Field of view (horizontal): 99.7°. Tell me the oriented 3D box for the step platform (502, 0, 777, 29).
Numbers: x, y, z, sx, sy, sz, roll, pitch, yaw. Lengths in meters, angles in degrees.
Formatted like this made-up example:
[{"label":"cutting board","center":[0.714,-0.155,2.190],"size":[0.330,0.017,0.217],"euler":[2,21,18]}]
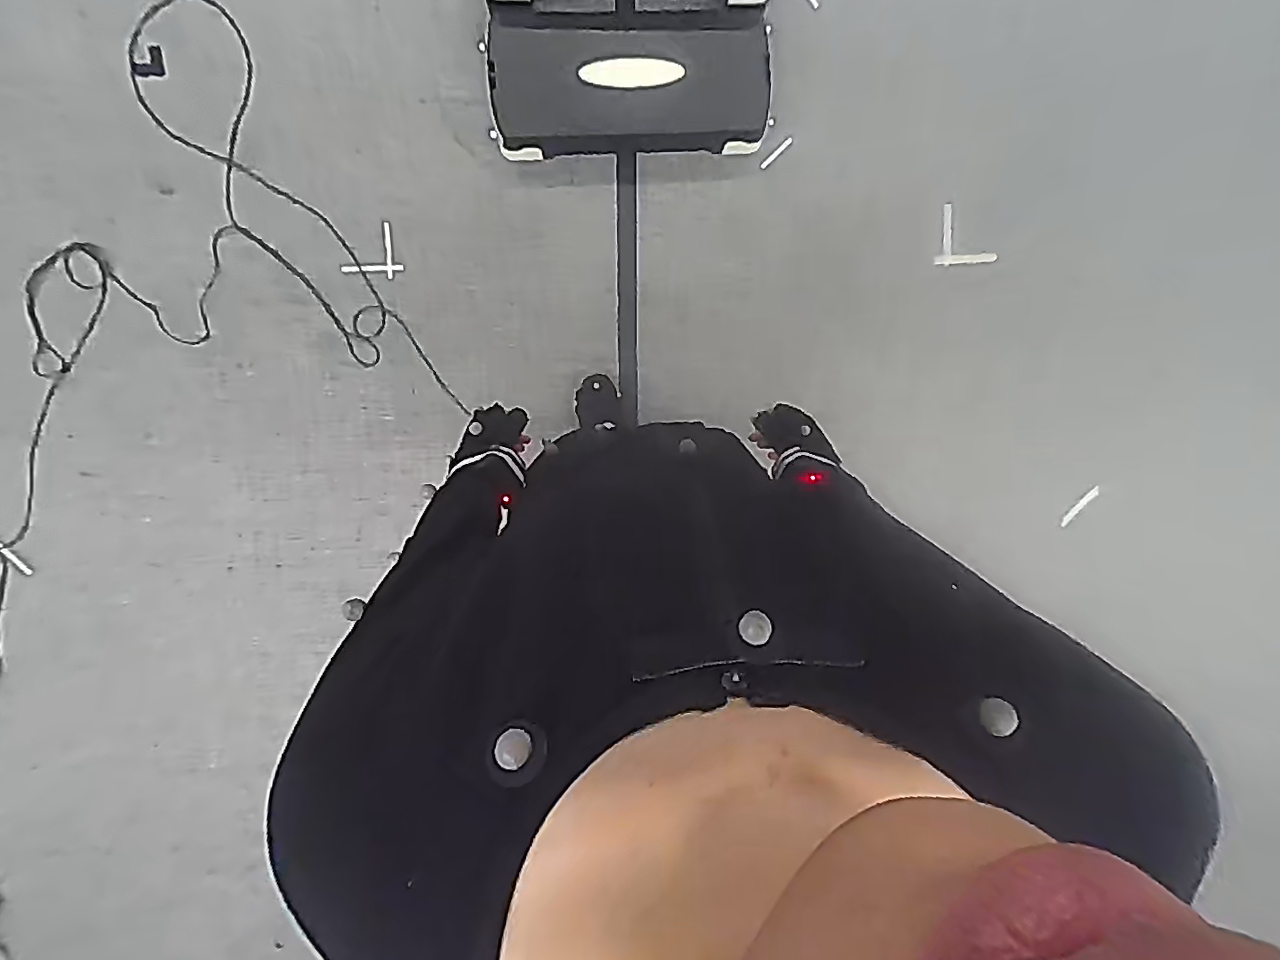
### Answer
[{"label":"step platform","center":[0.003,-1.245,1.226],"size":[0.684,0.204,0.286],"euler":[-3,97,-4]}]
